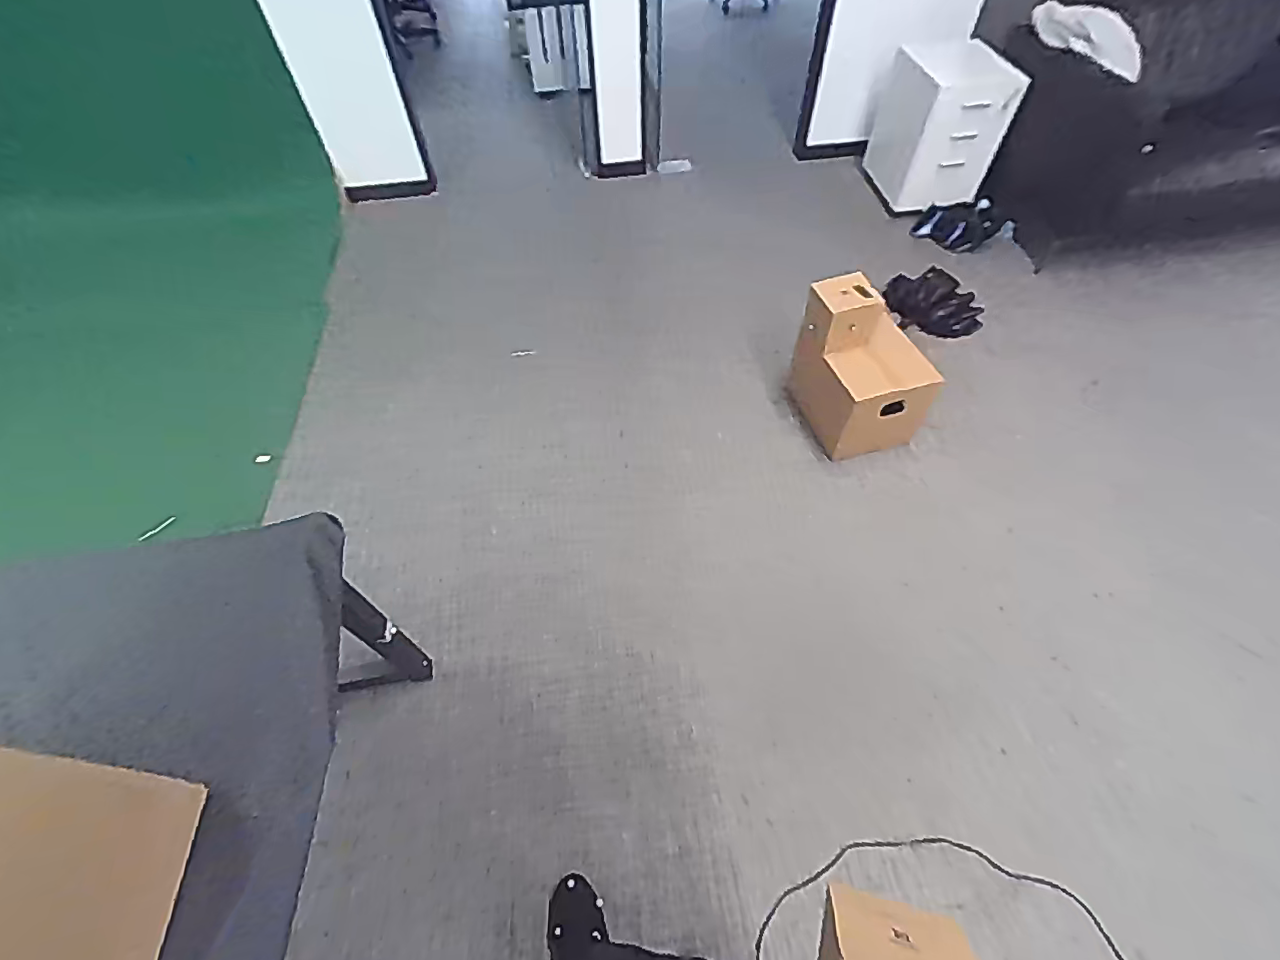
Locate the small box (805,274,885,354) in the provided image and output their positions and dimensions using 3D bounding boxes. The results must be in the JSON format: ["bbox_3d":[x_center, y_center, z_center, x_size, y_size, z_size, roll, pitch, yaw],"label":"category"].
[{"bbox_3d":[0.667,-0.545,1.785,0.179,0.176,0.168,-15,55,-4],"label":"small box"}]
